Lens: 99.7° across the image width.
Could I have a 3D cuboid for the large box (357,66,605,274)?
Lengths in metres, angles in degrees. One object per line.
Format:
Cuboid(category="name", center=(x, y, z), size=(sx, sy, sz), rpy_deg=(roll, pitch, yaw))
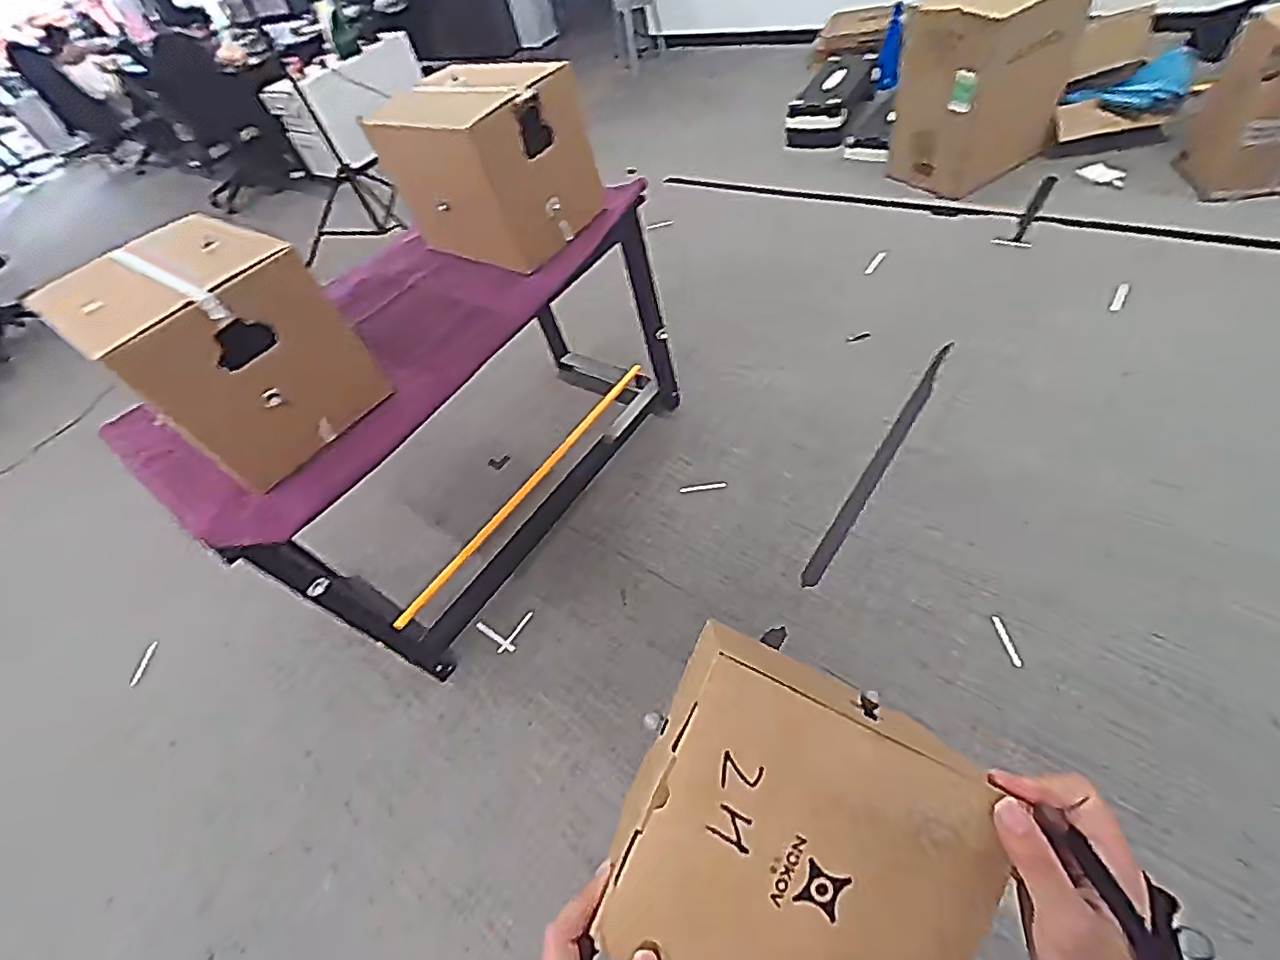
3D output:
Cuboid(category="large box", center=(-0.356, -0.728, 1.278), size=(0.408, 0.320, 0.320), rpy_deg=(24, 61, 30))
